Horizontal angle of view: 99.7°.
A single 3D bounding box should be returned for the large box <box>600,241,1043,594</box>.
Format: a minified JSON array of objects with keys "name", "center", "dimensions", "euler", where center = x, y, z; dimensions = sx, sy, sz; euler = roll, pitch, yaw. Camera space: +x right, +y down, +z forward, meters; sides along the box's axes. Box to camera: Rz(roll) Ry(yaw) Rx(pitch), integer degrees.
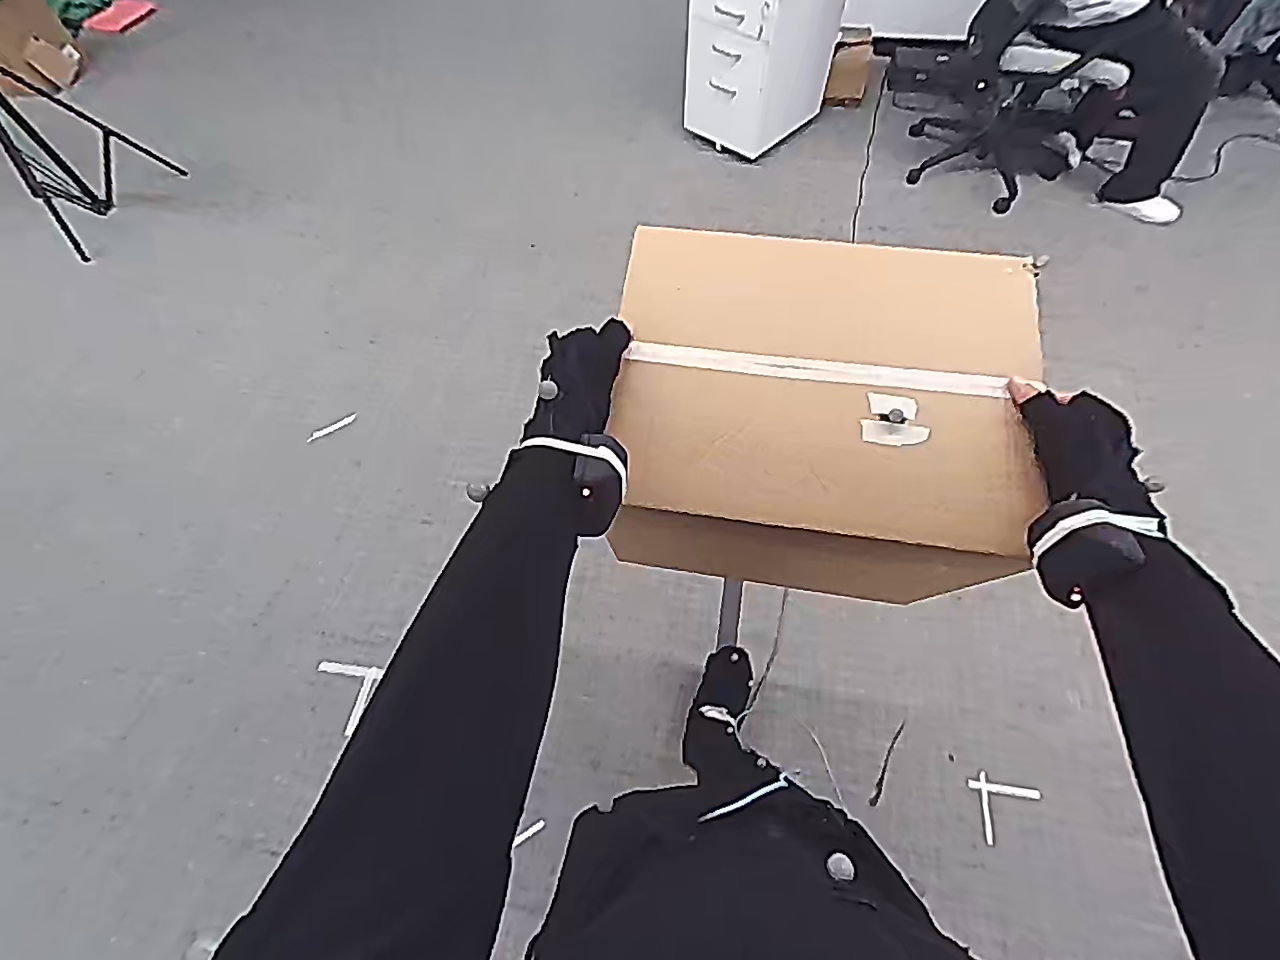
[{"name":"large box","center":[0.184,-0.054,0.676],"dimensions":[0.408,0.320,0.320],"euler":[8,73,6]}]
